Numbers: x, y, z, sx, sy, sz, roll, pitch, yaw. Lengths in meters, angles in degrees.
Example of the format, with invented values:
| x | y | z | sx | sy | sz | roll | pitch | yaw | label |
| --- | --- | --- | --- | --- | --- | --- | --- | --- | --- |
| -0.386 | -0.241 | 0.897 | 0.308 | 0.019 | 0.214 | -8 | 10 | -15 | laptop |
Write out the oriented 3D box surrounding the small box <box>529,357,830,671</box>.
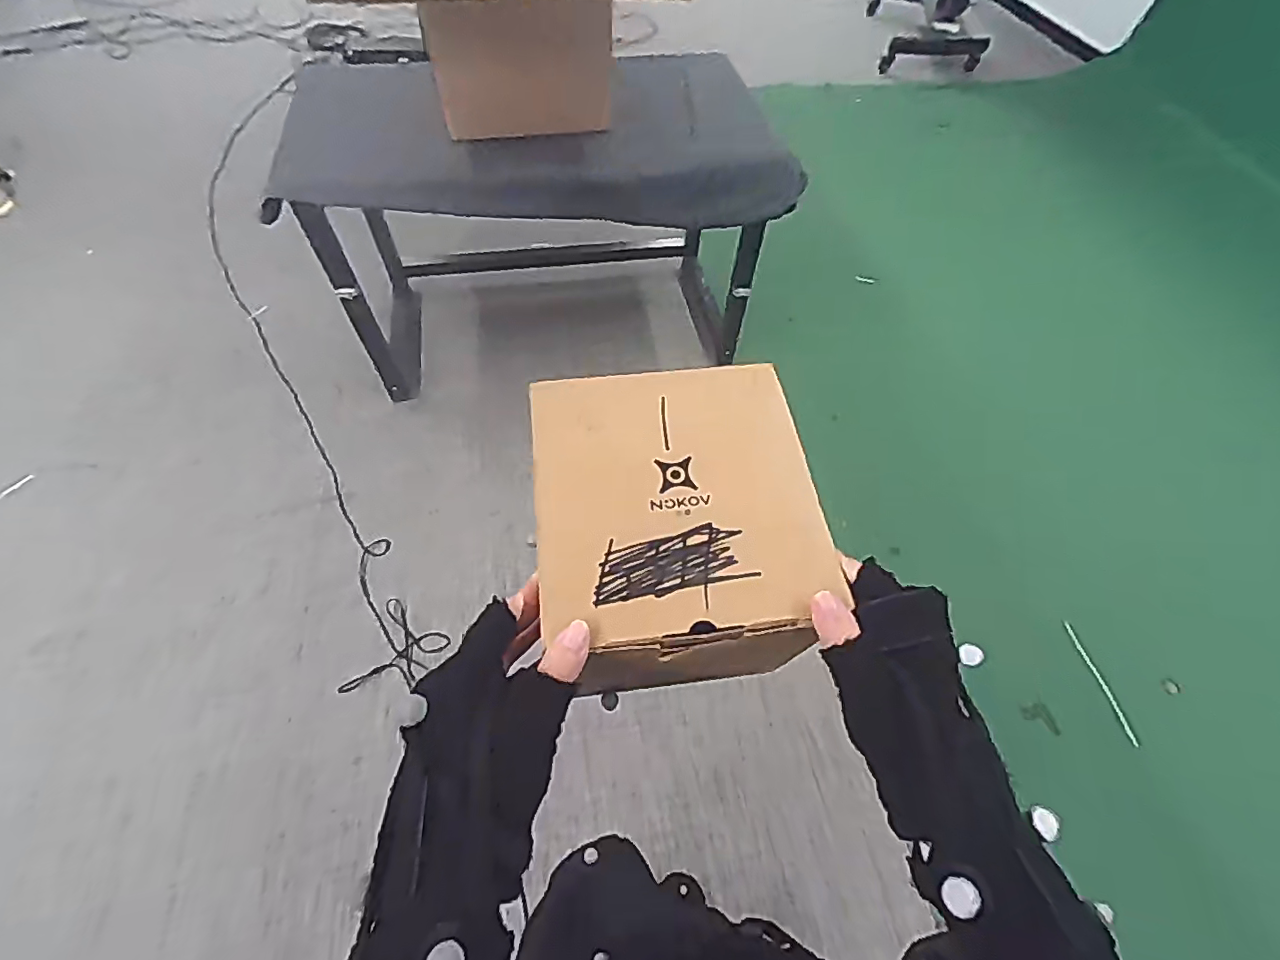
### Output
| x | y | z | sx | sy | sz | roll | pitch | yaw | label |
| --- | --- | --- | --- | --- | --- | --- | --- | --- | --- |
| 0.014 | 0.036 | 0.399 | 0.168 | 0.176 | 0.179 | -5 | 61 | -5 | small box |
